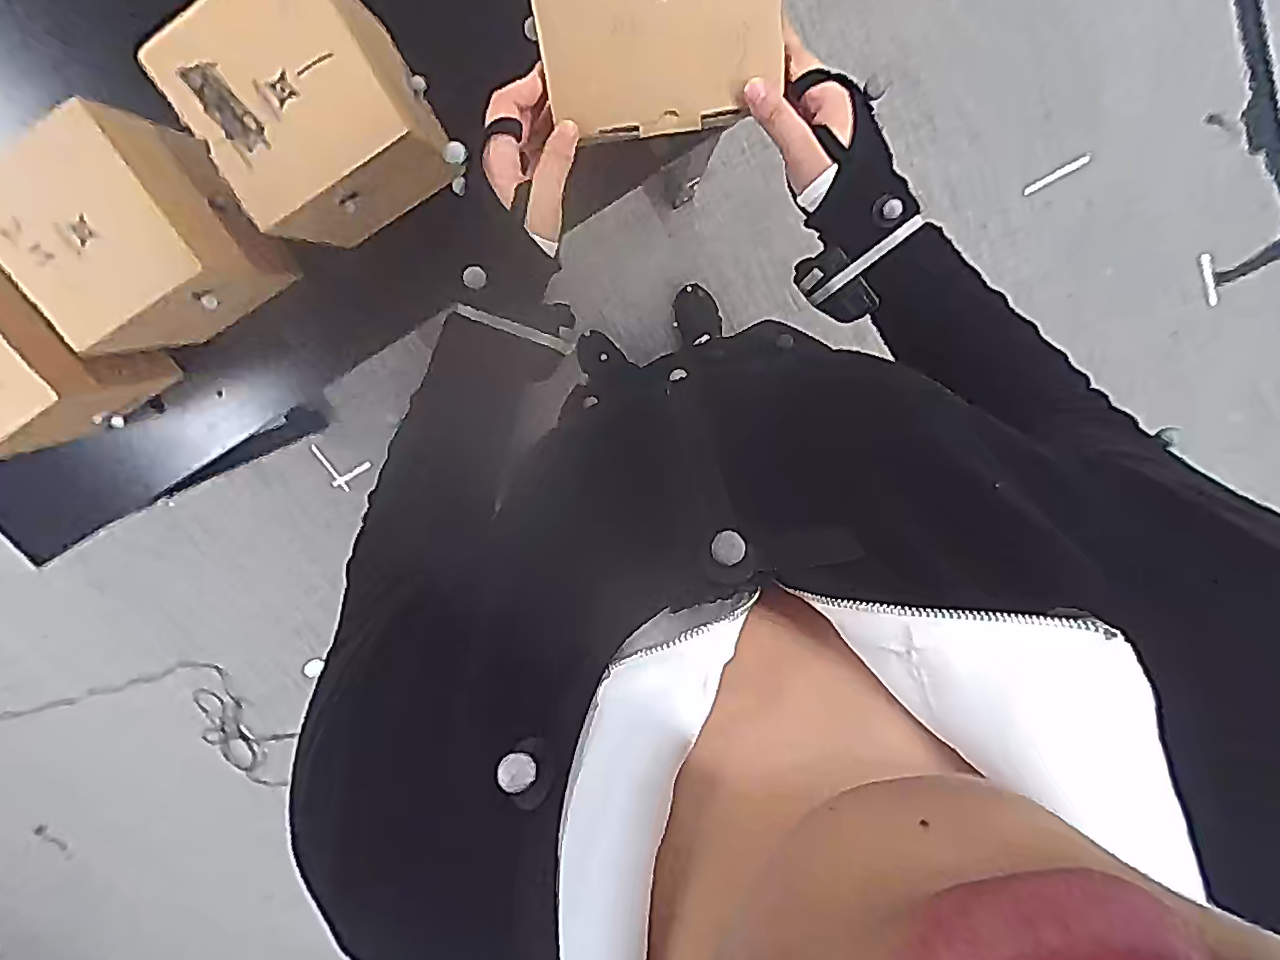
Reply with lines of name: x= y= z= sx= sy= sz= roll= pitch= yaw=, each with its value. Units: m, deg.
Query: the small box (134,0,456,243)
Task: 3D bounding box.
small box: x=-0.322 y=-0.362 z=0.547 sx=0.179 sy=0.176 sz=0.168 roll=-28 pitch=107 yaw=9

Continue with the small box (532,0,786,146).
small box: x=0.008 y=-0.363 z=0.405 sx=0.168 sy=0.176 sz=0.179 roll=-8 pitch=122 yaw=1

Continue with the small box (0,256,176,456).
small box: x=-0.719 y=-0.142 z=0.629 sx=0.168 sy=0.176 sz=0.179 roll=-28 pitch=107 yaw=11
